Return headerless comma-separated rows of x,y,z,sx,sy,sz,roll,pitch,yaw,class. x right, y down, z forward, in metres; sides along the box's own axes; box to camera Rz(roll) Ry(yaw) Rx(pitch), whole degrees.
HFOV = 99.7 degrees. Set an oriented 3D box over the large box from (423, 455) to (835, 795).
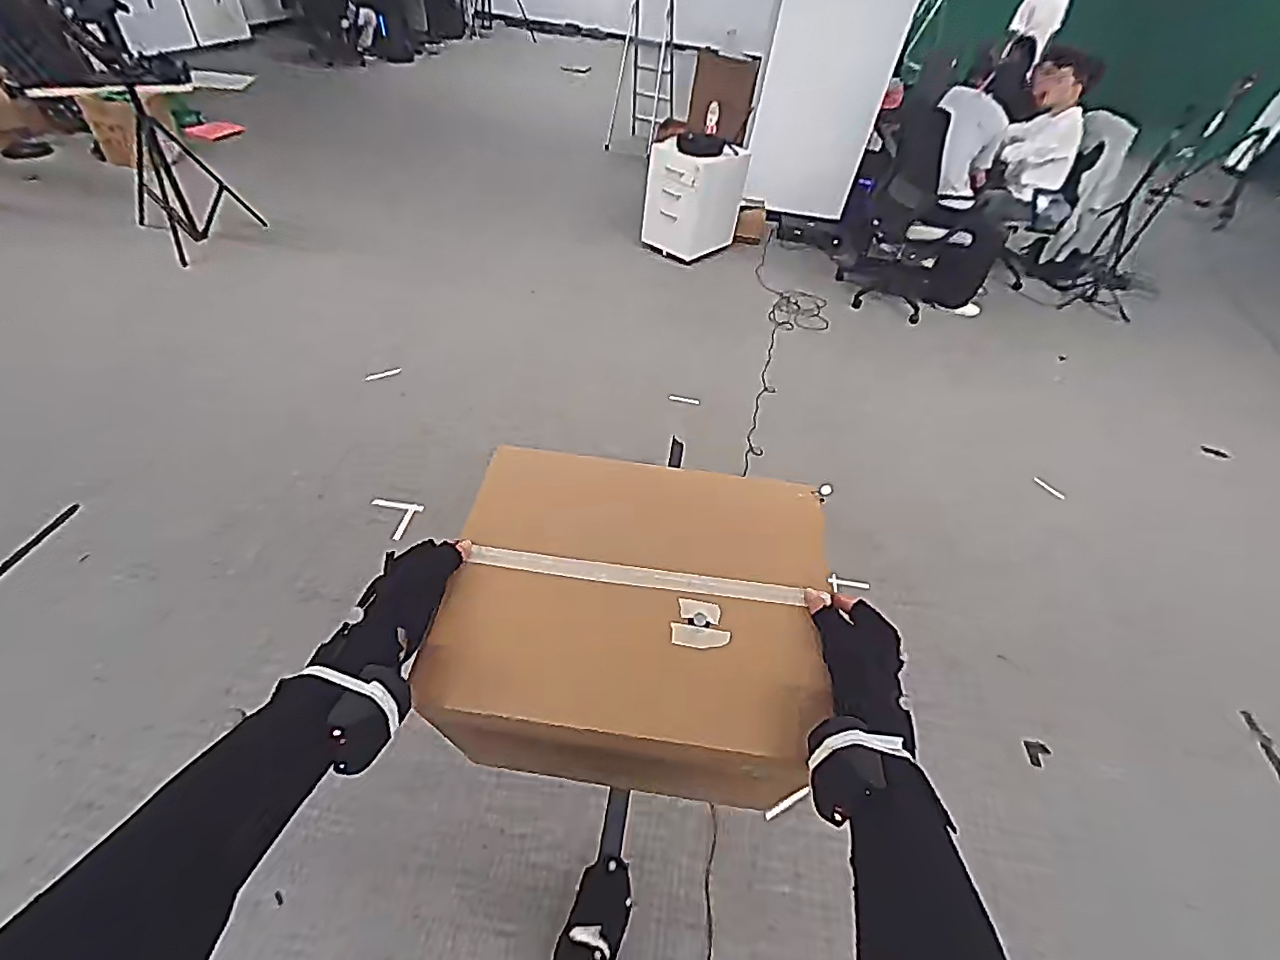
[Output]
-0.006,0.199,0.717,0.408,0.320,0.320,7,53,2,large box
